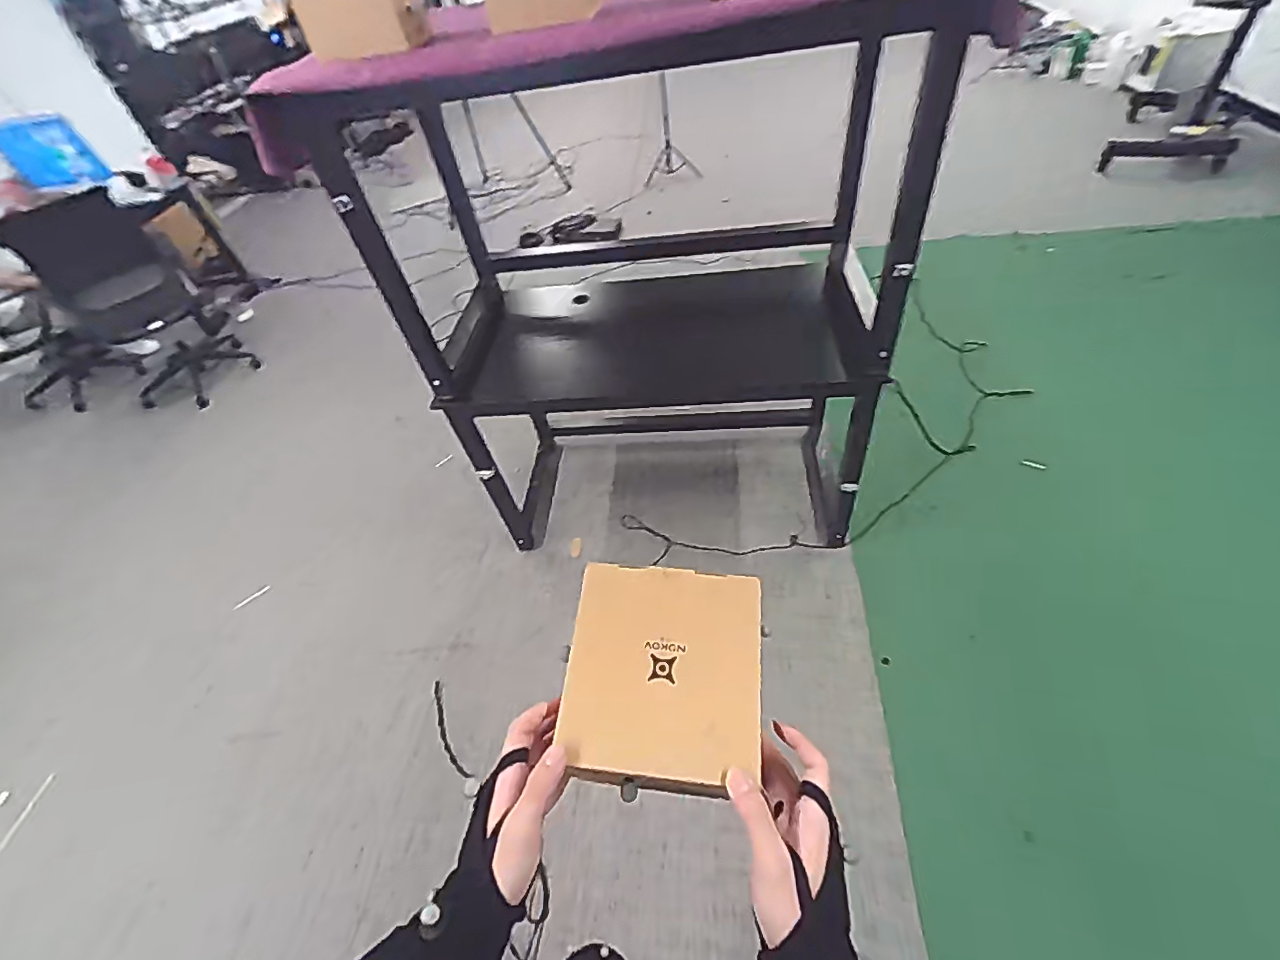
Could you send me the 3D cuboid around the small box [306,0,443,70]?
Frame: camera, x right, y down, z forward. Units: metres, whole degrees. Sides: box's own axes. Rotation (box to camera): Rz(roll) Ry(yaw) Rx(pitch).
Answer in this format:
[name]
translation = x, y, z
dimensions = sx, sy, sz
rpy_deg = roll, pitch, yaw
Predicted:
[small box]
translation = -0.491, -0.870, 0.983
dimensions = 0.179, 0.176, 0.168
rpy_deg = -3, 47, 6
